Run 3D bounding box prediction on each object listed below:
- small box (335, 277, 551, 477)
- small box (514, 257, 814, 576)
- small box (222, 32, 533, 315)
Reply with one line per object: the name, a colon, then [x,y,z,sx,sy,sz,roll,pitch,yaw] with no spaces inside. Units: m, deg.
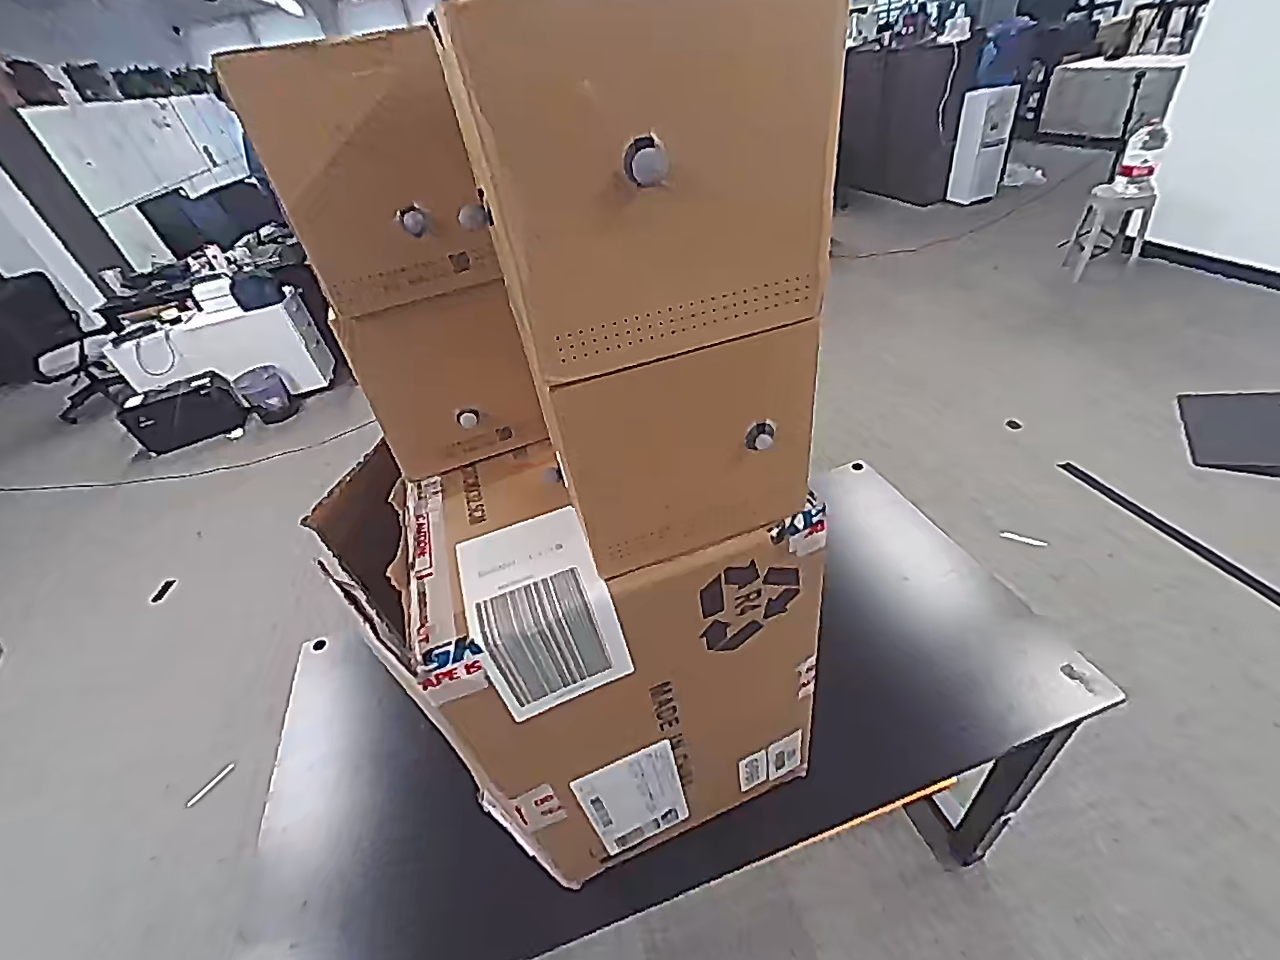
small box: [-0.193,-0.130,0.570,0.168,0.176,0.179,-20,38,-13]
small box: [0.016,-0.055,0.435,0.179,0.176,0.168,-19,39,-9]
small box: [-0.207,-0.258,0.466,0.168,0.176,0.179,-21,38,-14]
